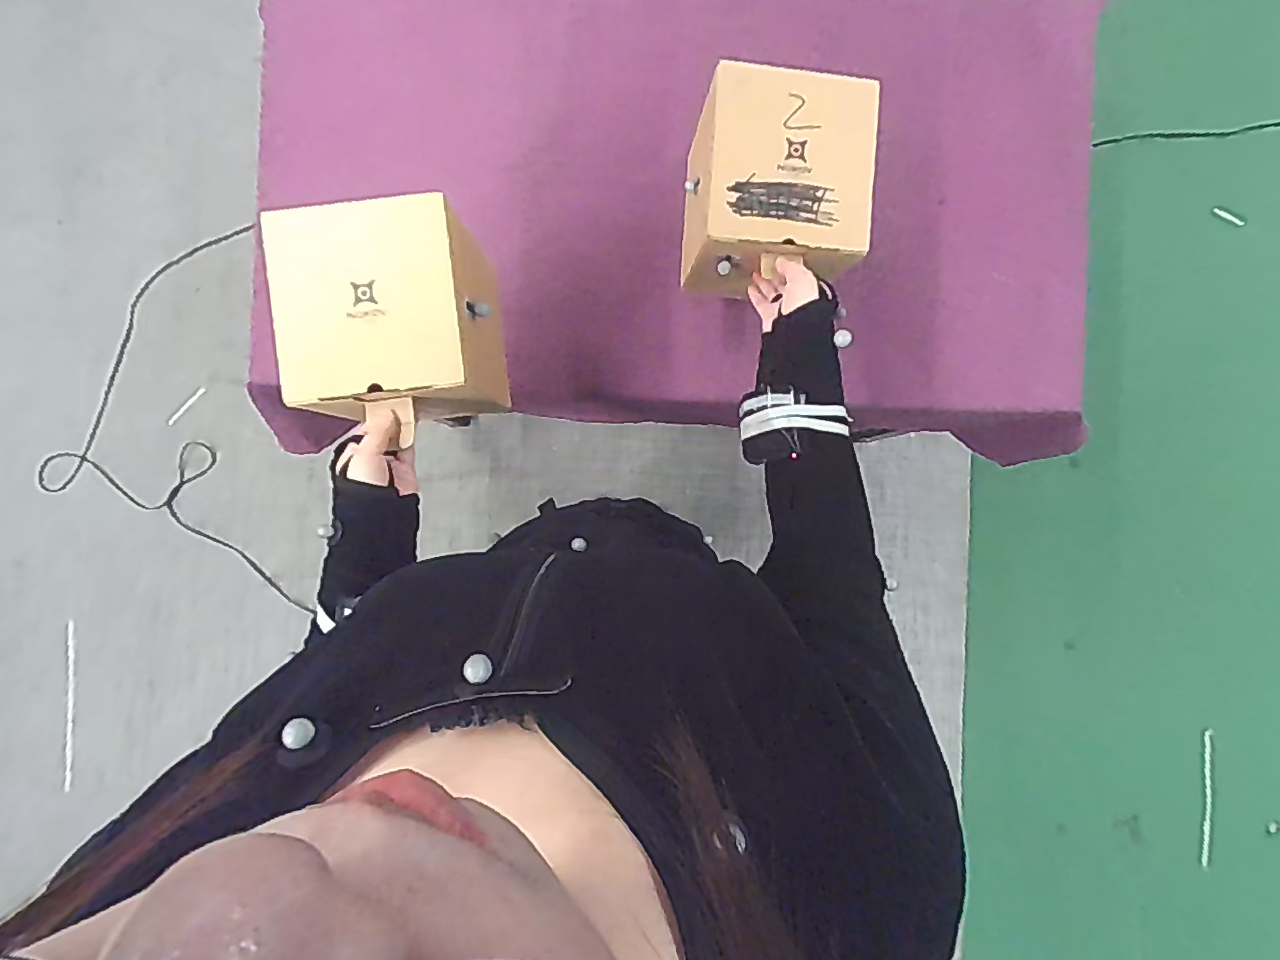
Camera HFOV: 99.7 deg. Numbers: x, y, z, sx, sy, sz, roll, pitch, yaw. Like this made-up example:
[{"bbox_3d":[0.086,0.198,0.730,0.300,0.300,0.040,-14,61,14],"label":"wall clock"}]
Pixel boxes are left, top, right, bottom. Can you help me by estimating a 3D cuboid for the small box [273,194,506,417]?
[{"bbox_3d":[-0.249,-0.170,0.577,0.168,0.176,0.179,-7,91,0],"label":"small box"}]
